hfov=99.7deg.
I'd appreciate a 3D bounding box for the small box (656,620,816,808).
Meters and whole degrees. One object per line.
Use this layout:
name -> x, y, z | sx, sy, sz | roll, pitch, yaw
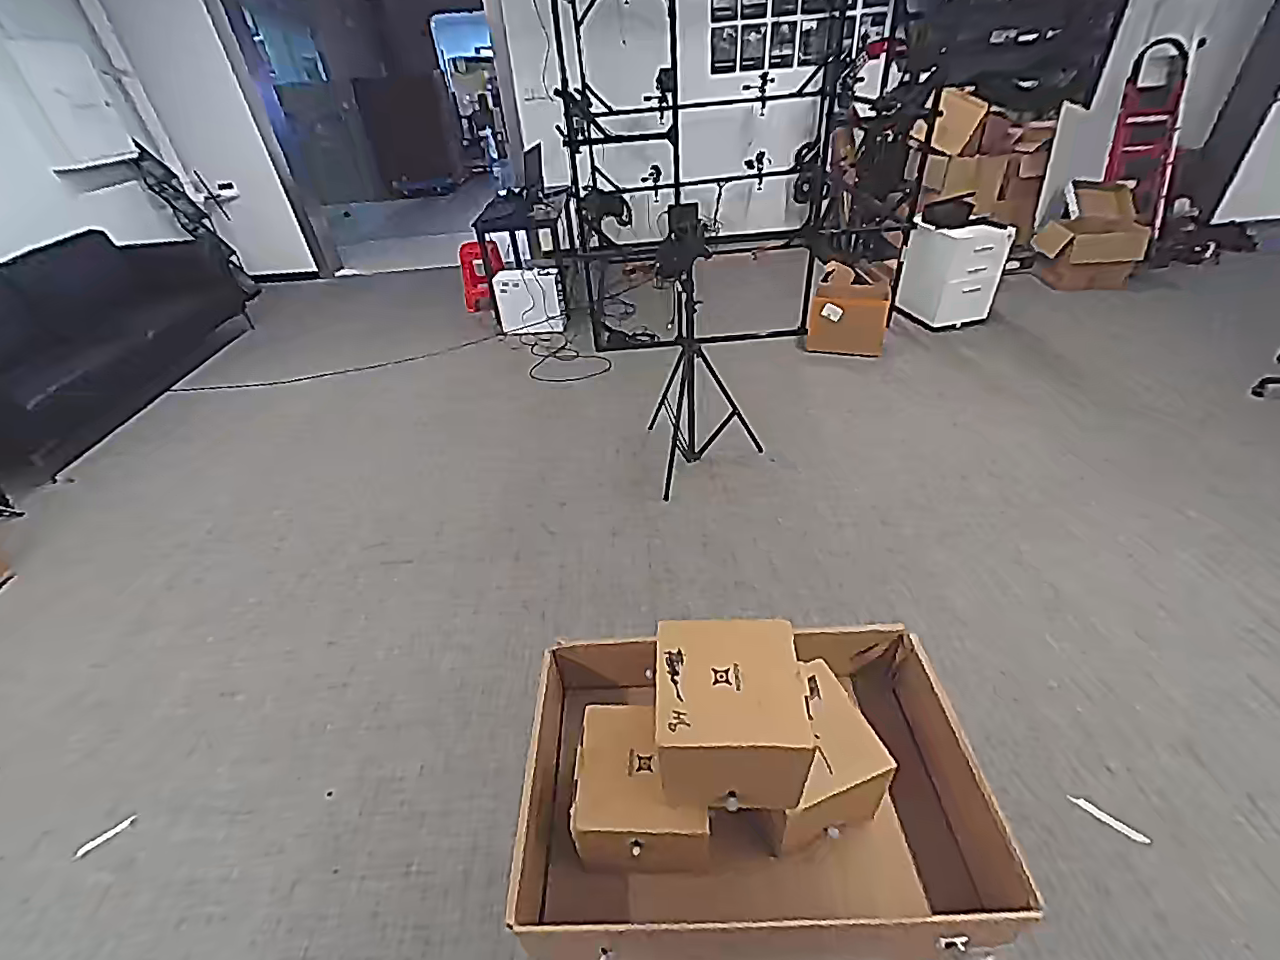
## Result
small box -> 0.110, 0.299, 0.695 | 0.179, 0.176, 0.168 | -1, 39, 4
